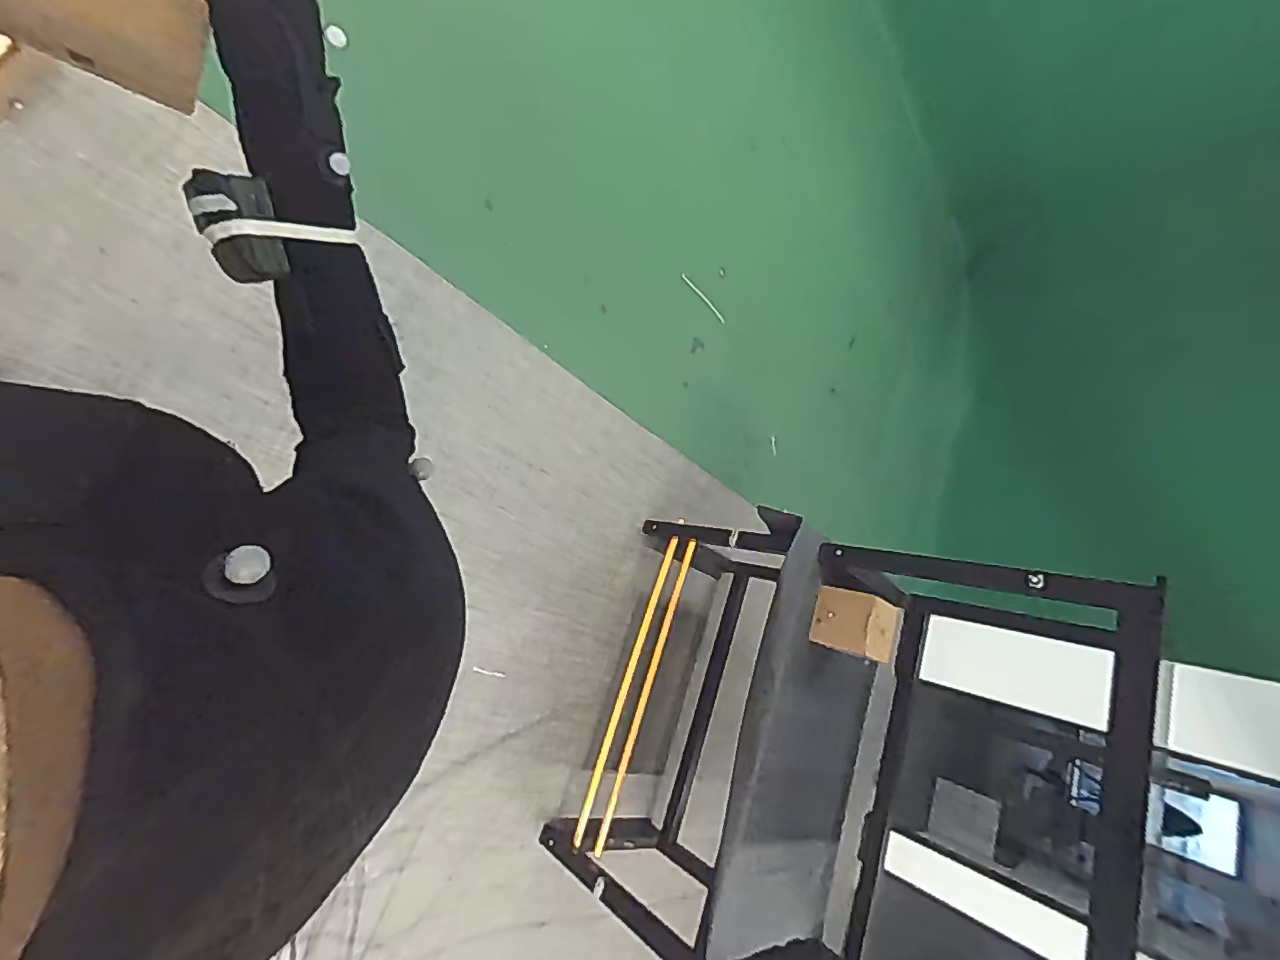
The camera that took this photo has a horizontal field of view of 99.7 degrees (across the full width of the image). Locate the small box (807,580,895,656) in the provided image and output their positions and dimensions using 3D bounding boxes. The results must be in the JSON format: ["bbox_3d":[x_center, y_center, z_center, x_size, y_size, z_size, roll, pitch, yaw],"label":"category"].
[{"bbox_3d":[0.620,0.401,1.589,0.179,0.176,0.168,29,73,-41],"label":"small box"}]

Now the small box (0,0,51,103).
[{"bbox_3d":[-1.122,-0.760,0.879,0.179,0.176,0.168,33,70,-39],"label":"small box"}]
